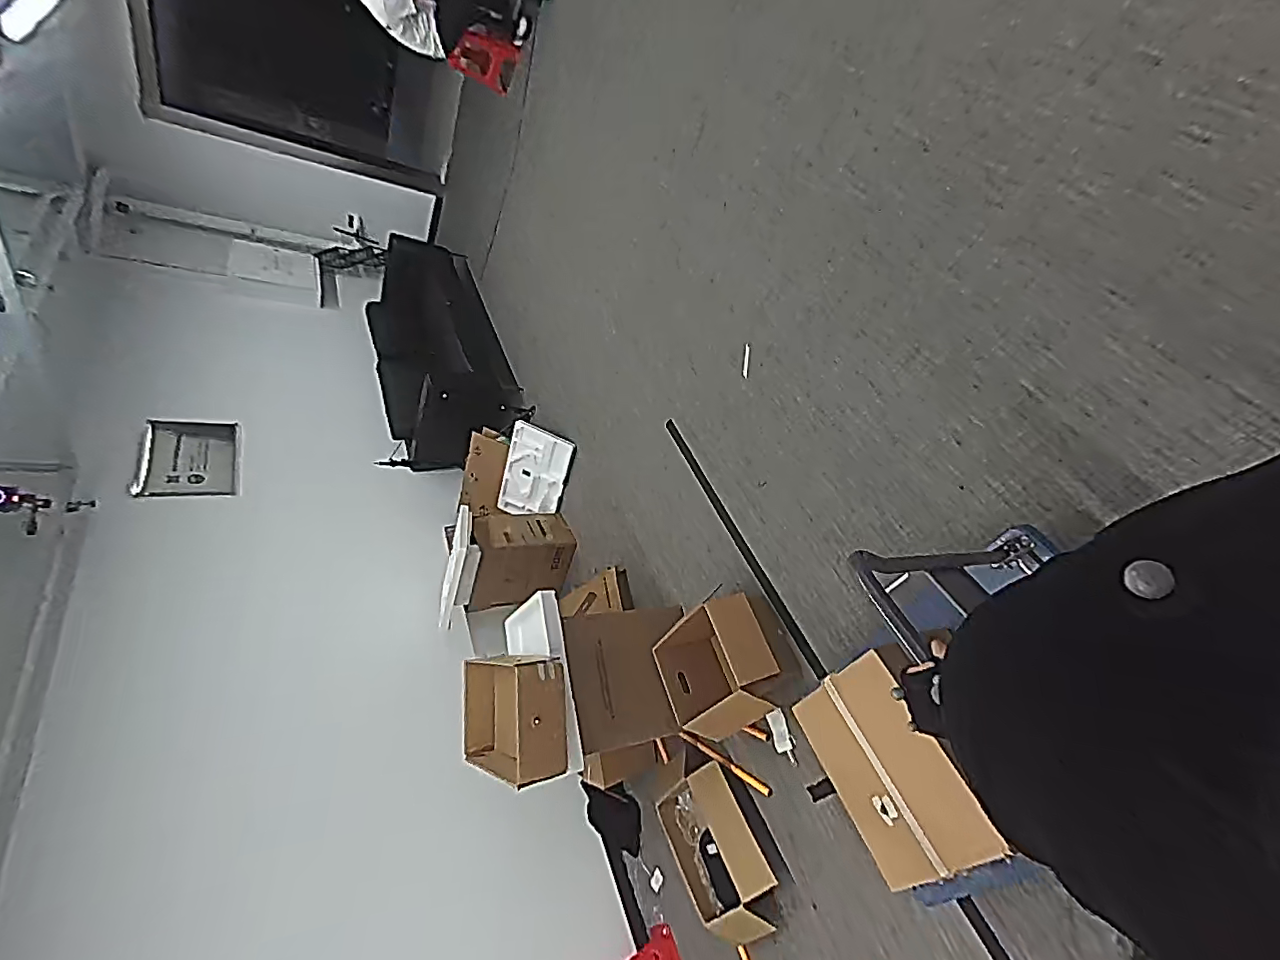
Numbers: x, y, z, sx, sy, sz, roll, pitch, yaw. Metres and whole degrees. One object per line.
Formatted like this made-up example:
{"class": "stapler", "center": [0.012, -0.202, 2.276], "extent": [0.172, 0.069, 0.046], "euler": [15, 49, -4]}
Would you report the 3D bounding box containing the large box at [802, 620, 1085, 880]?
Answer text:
{"class": "large box", "center": [0.664, 0.588, 1.232], "extent": [0.320, 0.320, 0.408], "euler": [-60, 44, 38]}
